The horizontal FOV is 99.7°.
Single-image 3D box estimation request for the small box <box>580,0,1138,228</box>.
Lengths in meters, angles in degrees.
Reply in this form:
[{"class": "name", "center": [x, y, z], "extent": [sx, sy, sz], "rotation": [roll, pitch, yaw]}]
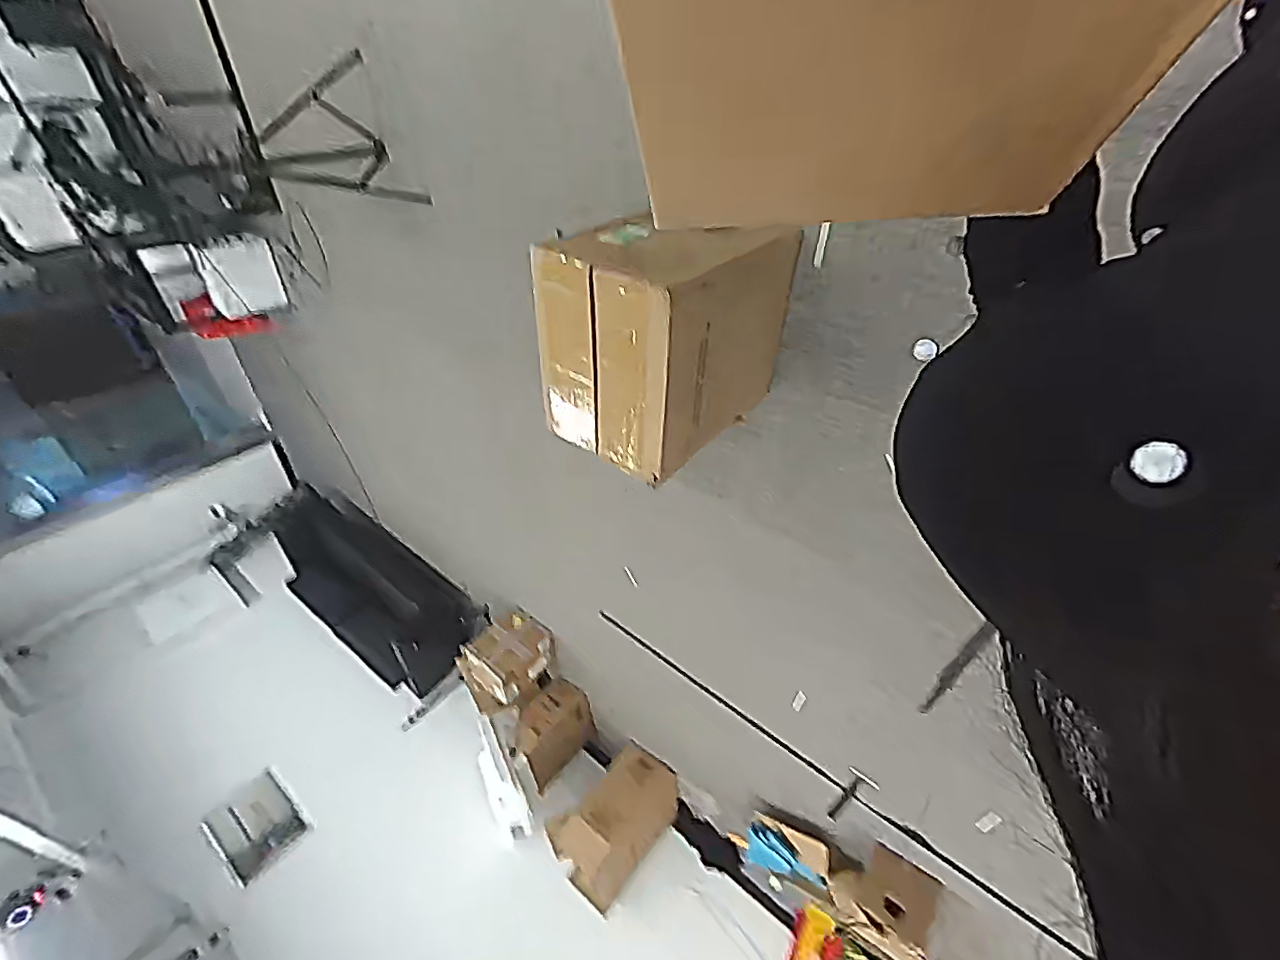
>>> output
[{"class": "small box", "center": [0.070, -0.214, 0.173], "extent": [0.168, 0.176, 0.179], "rotation": [1, 81, 12]}]
